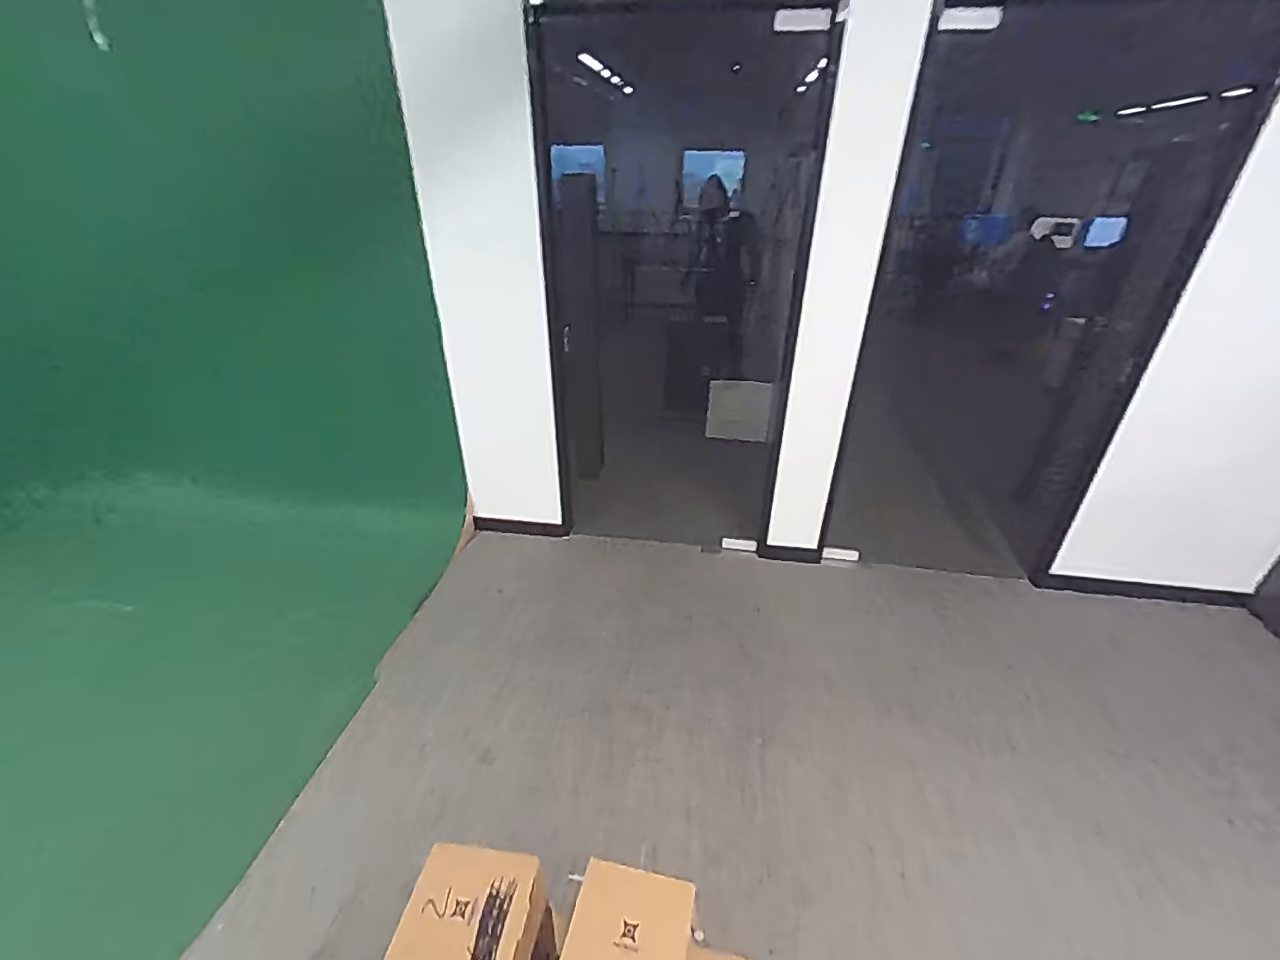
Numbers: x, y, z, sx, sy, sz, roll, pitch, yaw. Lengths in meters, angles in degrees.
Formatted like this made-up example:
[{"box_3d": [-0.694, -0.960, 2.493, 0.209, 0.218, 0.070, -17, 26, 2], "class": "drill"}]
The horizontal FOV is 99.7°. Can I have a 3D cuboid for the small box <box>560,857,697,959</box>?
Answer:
[{"box_3d": [-0.015, 0.695, 0.775, 0.168, 0.176, 0.179, 5, 29, 13], "class": "small box"}]
